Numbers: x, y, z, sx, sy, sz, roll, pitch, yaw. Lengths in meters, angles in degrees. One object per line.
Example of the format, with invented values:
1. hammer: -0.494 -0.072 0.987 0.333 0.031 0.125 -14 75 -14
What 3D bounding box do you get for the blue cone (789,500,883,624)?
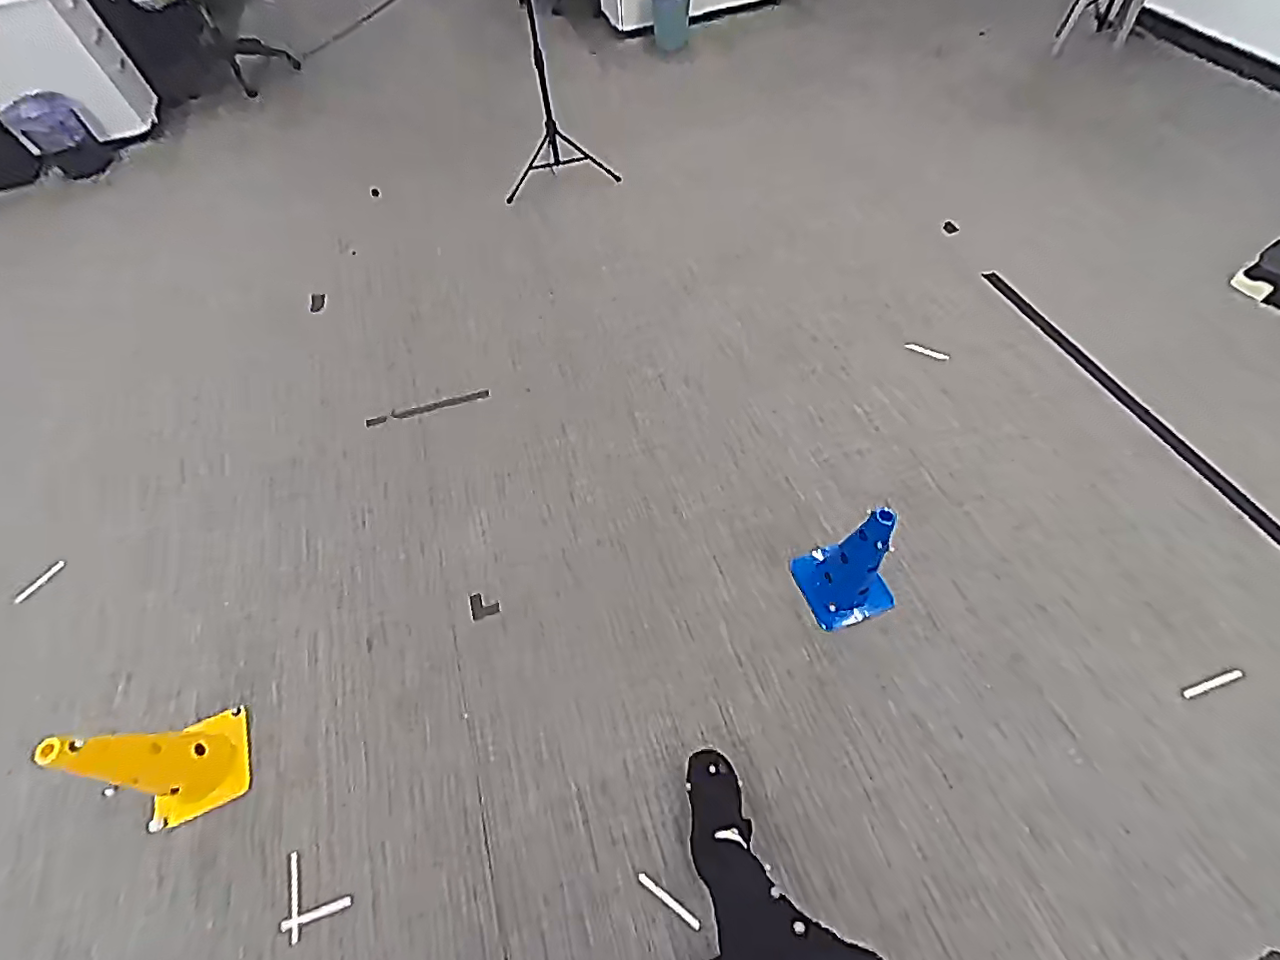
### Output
1. blue cone: 0.479 0.164 1.217 0.193 0.380 0.192 -17 57 -6
